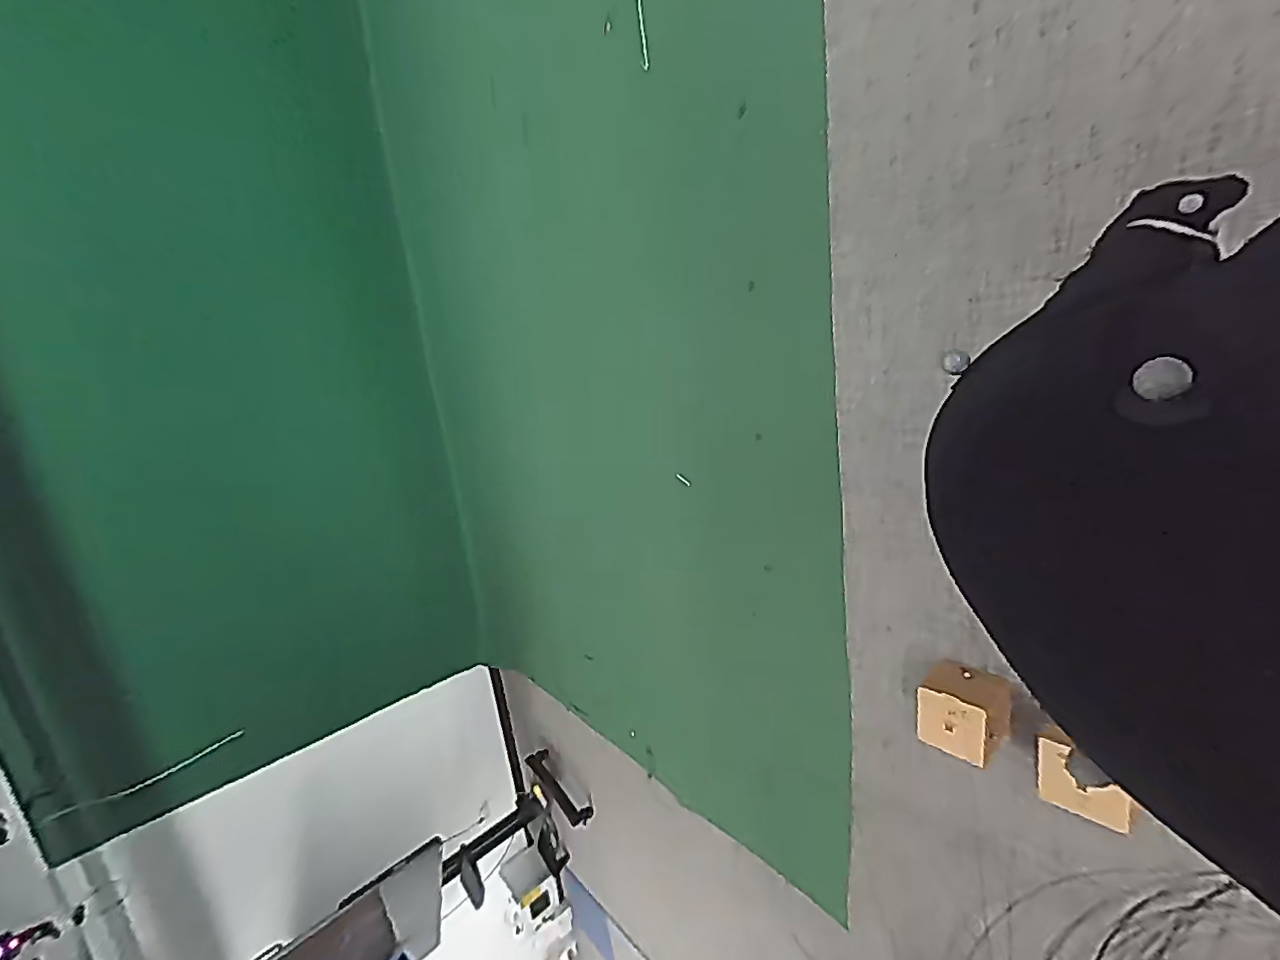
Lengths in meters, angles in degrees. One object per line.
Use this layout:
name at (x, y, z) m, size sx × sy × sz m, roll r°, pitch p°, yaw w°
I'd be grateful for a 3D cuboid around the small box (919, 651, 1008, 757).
small box at (0.886, 0.605, 1.481) m, size 0.168 × 0.176 × 0.179 m, roll 10°, pitch 111°, yaw 48°
